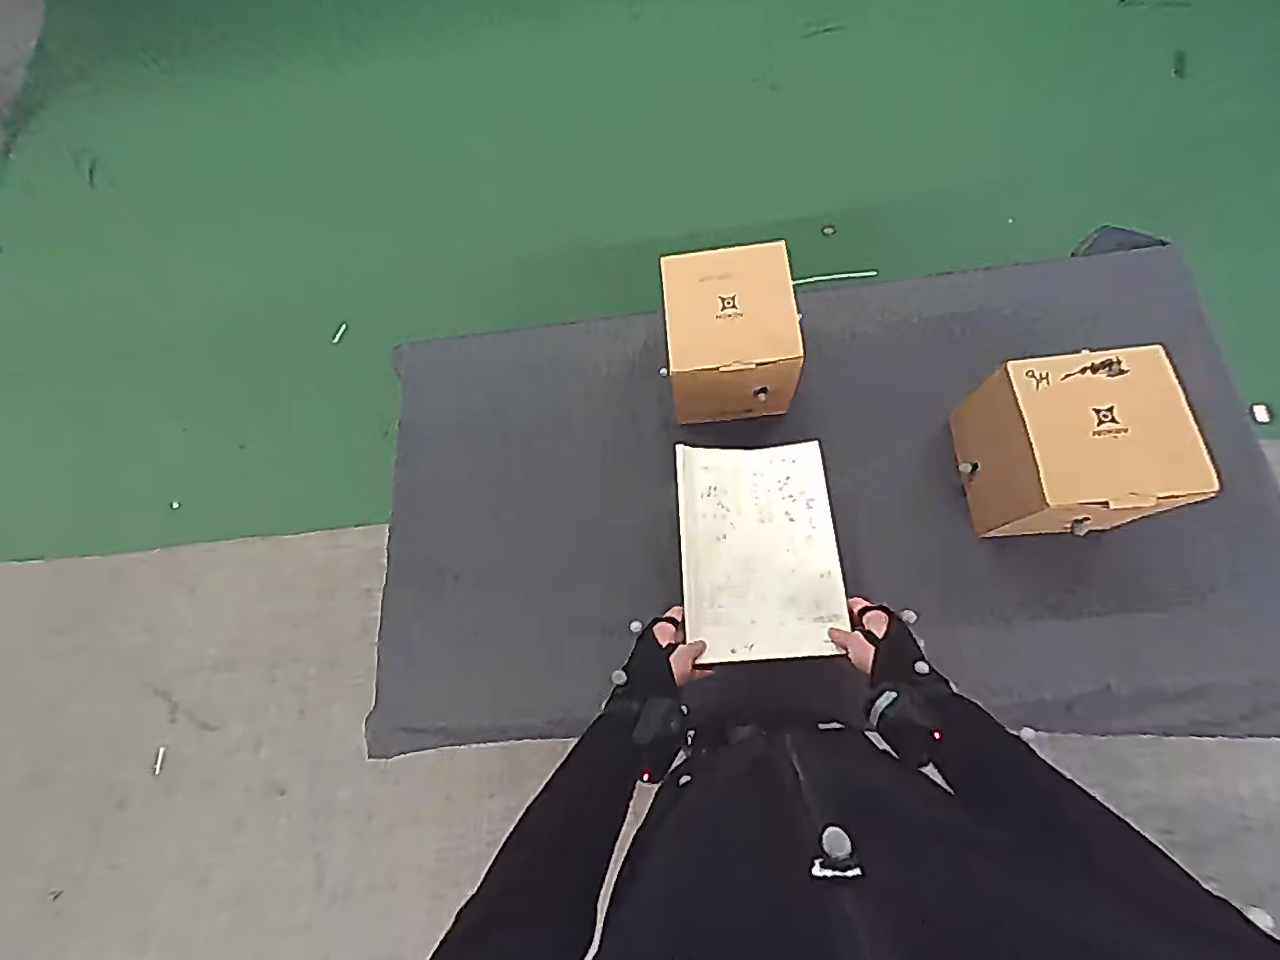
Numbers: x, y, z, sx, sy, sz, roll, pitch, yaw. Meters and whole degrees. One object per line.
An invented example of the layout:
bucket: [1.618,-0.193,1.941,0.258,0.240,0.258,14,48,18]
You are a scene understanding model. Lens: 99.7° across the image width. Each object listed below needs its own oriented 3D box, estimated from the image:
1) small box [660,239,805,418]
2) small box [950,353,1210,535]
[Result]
small box: [0.122,-0.195,0.749,0.168,0.176,0.179,-6,72,5]
small box: [0.512,-0.031,0.663,0.168,0.176,0.179,-5,74,6]
